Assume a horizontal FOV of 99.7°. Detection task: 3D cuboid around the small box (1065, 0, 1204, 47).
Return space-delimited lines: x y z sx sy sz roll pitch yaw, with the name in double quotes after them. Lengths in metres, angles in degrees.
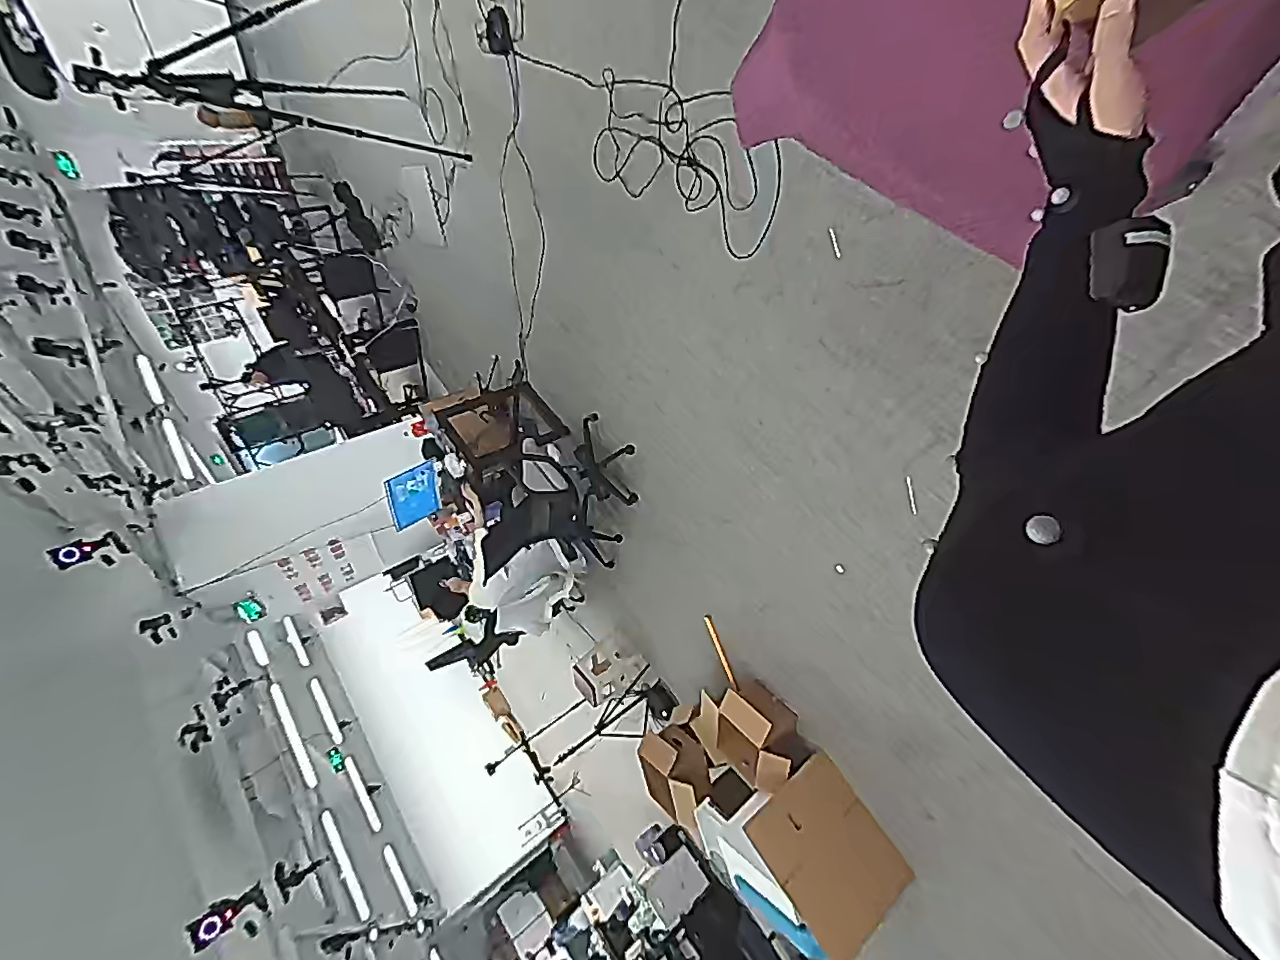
0.404 -0.468 0.386 0.179 0.176 0.168 -24 84 55 "small box"
